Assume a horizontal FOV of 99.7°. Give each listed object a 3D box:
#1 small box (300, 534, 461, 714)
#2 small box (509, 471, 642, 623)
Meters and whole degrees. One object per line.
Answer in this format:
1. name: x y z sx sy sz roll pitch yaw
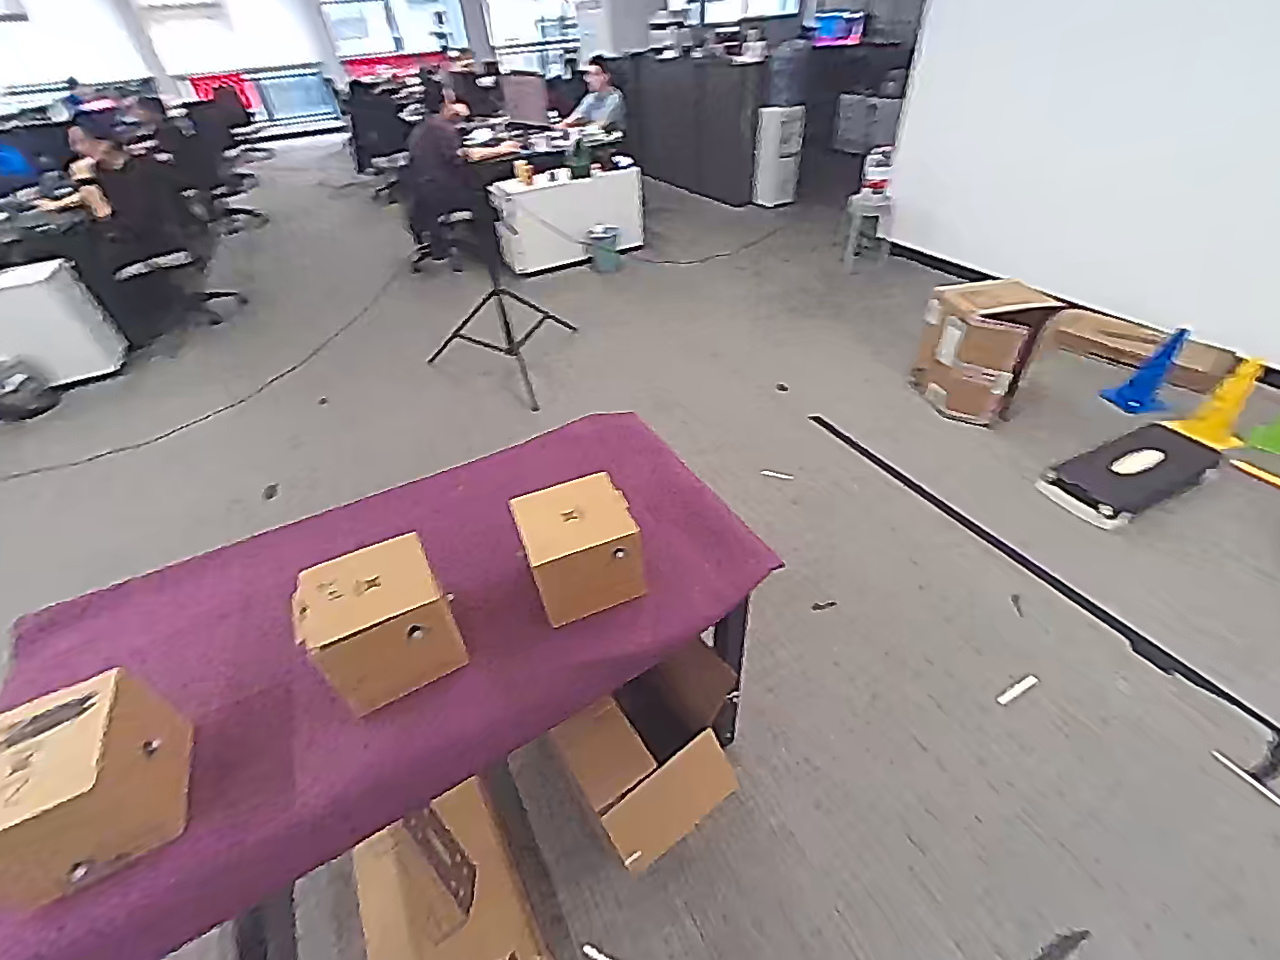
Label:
1. small box: -0.394 0.221 0.841 0.179 0.176 0.168 -23 42 -20
2. small box: -0.108 0.117 0.937 0.179 0.176 0.168 -18 43 -15
